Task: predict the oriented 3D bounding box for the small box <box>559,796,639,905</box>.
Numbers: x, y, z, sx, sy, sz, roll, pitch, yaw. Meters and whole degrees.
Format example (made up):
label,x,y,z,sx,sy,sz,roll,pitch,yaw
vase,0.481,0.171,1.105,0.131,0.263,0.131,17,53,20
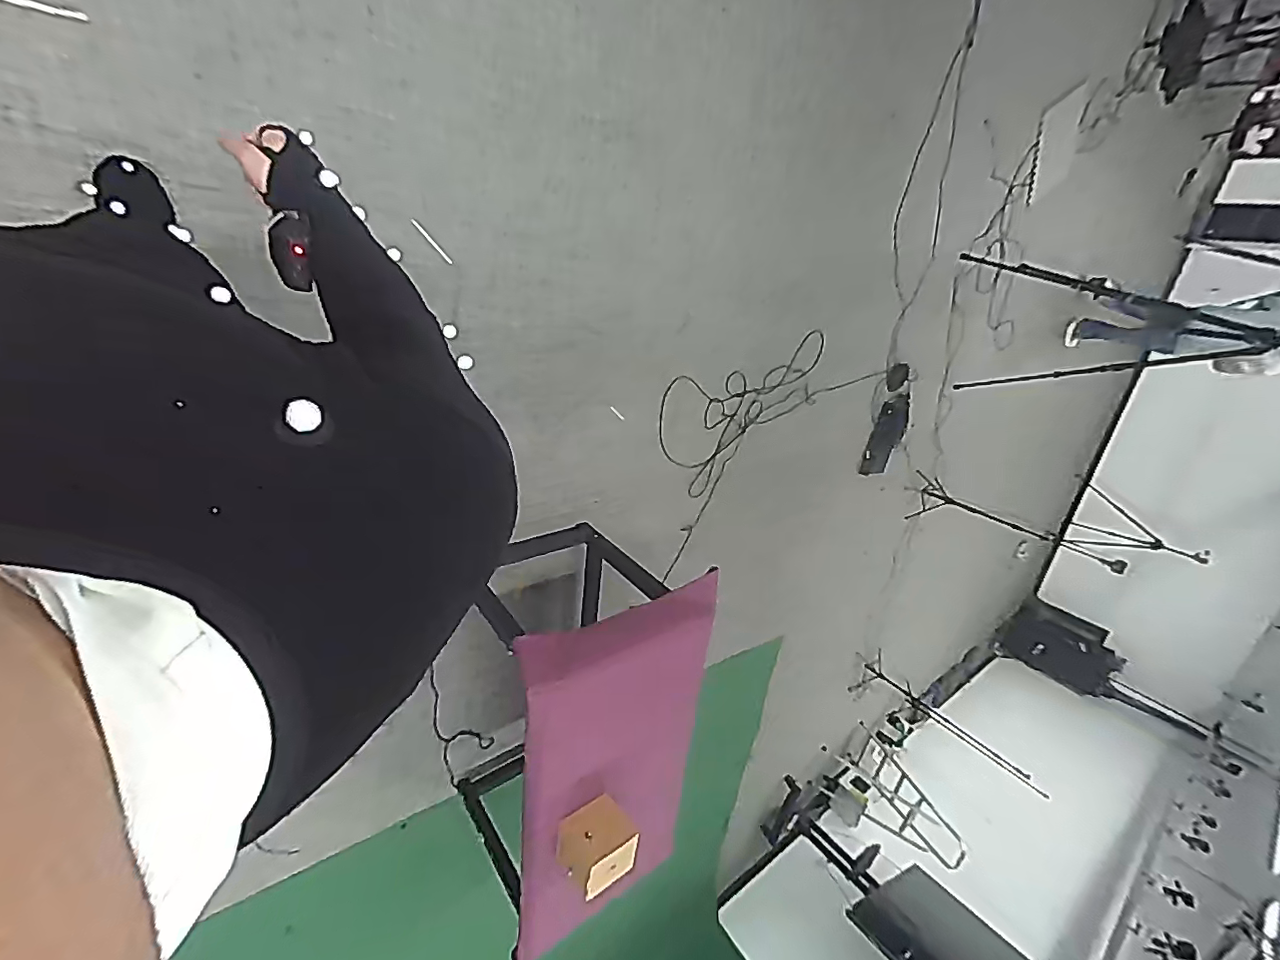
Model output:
label,x,y,z,sx,sy,sz,roll,pitch,yaw
small box,-0.129,1.117,1.643,0.179,0.176,0.168,-10,119,-39
